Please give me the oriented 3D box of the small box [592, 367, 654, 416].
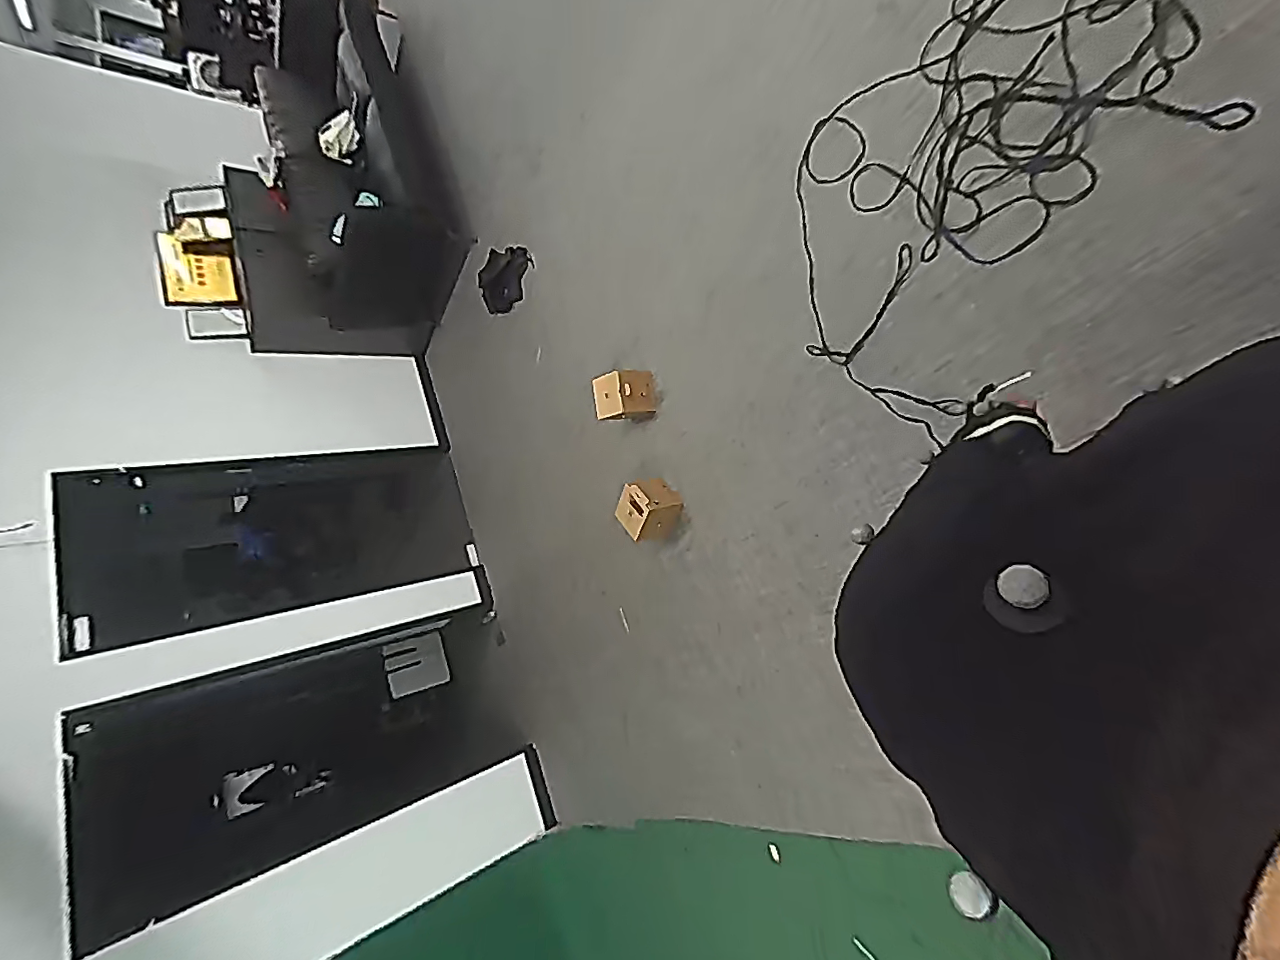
[{"bbox_3d":[-0.068,-0.348,2.154,0.179,0.176,0.168,-8,90,51],"label":"small box"}]
